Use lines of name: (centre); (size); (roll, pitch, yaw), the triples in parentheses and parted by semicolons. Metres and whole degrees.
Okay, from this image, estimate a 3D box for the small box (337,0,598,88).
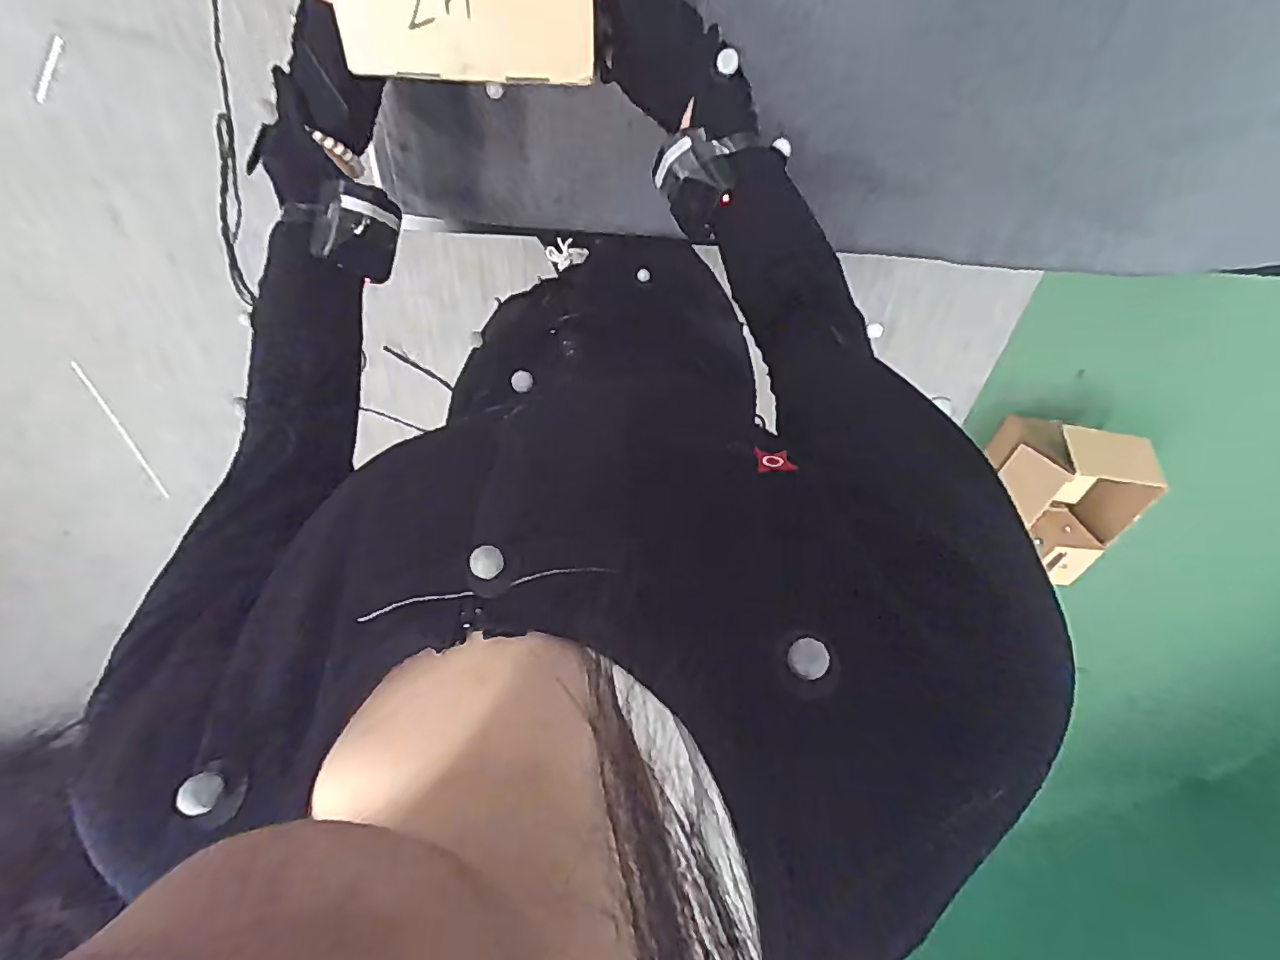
small box: (-0.114, -0.390, 0.380); (0.168, 0.176, 0.179); (-1, 129, -5)
